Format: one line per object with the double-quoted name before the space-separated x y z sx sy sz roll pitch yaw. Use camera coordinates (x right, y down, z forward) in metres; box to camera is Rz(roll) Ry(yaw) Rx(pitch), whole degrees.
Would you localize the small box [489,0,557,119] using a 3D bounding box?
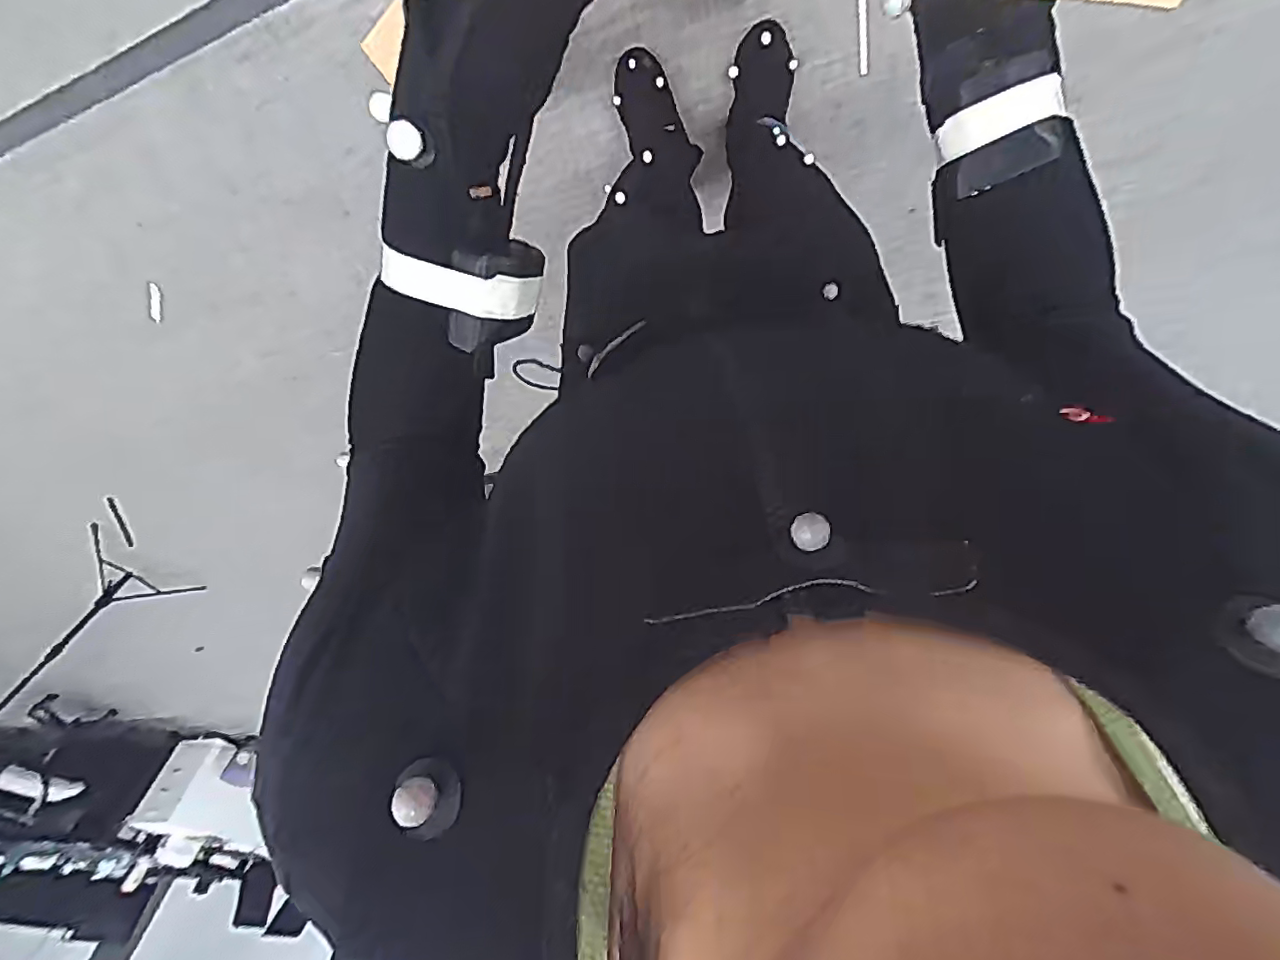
"small box" -0.272 -0.798 1.001 0.168 0.176 0.179 -11 132 17
